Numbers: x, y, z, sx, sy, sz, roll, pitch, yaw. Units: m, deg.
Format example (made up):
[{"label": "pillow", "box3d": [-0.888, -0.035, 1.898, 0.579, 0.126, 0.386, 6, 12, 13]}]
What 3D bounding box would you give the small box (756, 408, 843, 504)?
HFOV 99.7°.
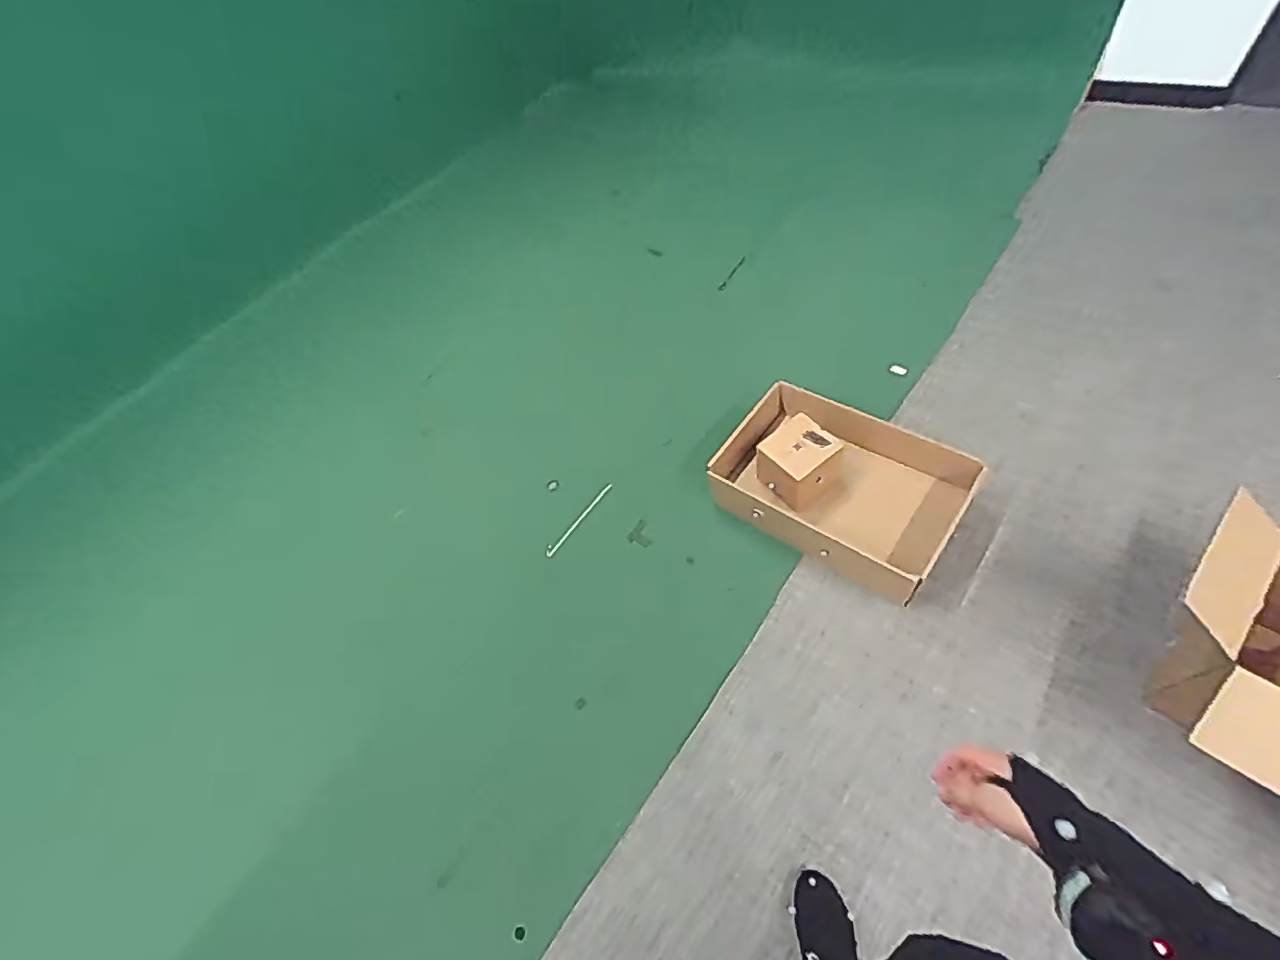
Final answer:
[{"label": "small box", "box3d": [0.449, -0.066, 1.554, 0.179, 0.176, 0.168, -36, 57, -11]}]
